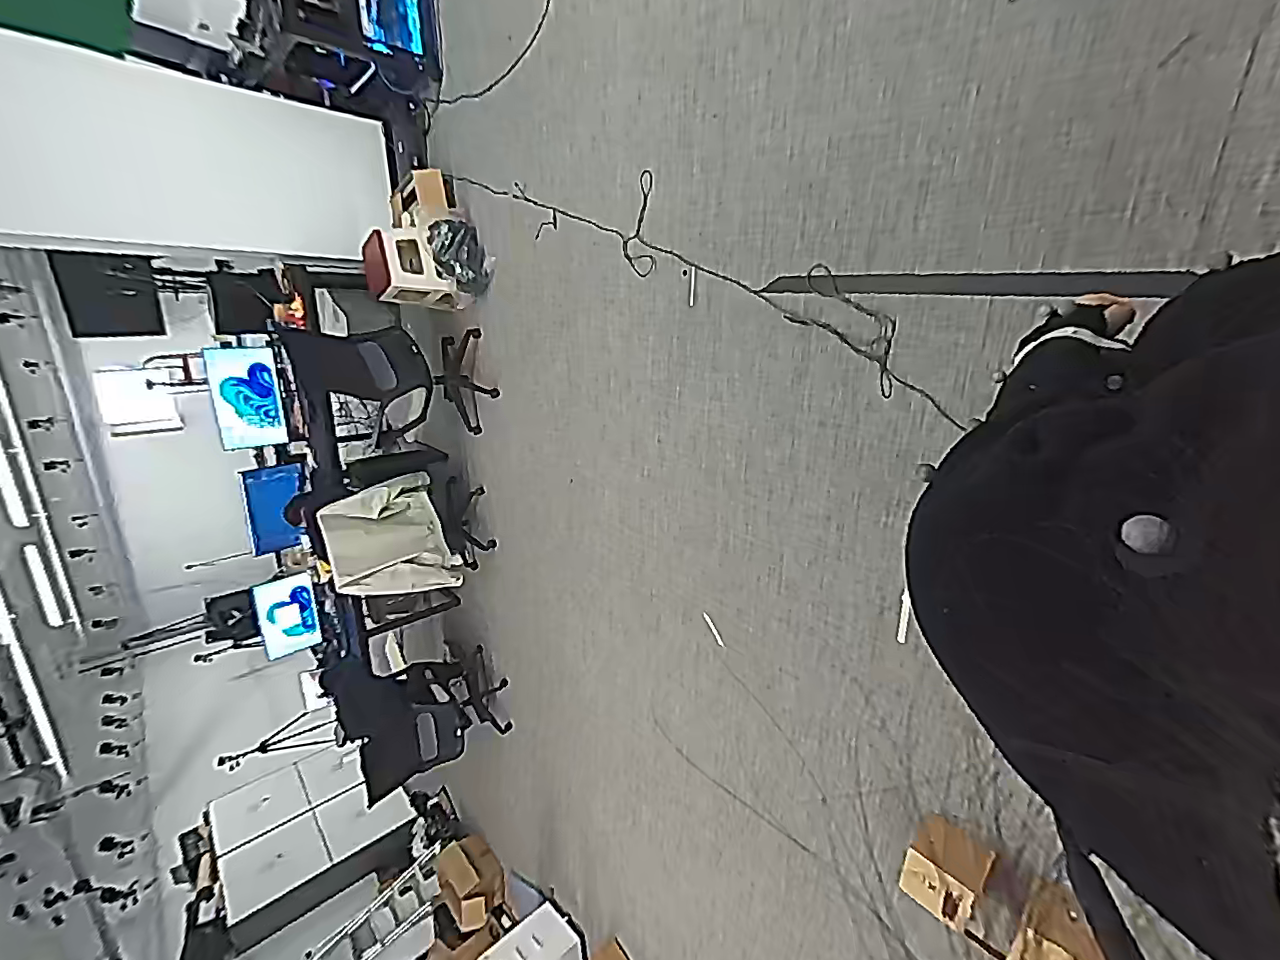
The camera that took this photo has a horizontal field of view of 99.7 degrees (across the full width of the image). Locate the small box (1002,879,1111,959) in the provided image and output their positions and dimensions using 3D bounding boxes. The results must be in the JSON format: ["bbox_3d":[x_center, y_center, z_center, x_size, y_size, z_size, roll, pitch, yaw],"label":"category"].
[{"bbox_3d":[1.054,1.177,1.367,0.168,0.176,0.179,22,117,42],"label":"small box"}]
